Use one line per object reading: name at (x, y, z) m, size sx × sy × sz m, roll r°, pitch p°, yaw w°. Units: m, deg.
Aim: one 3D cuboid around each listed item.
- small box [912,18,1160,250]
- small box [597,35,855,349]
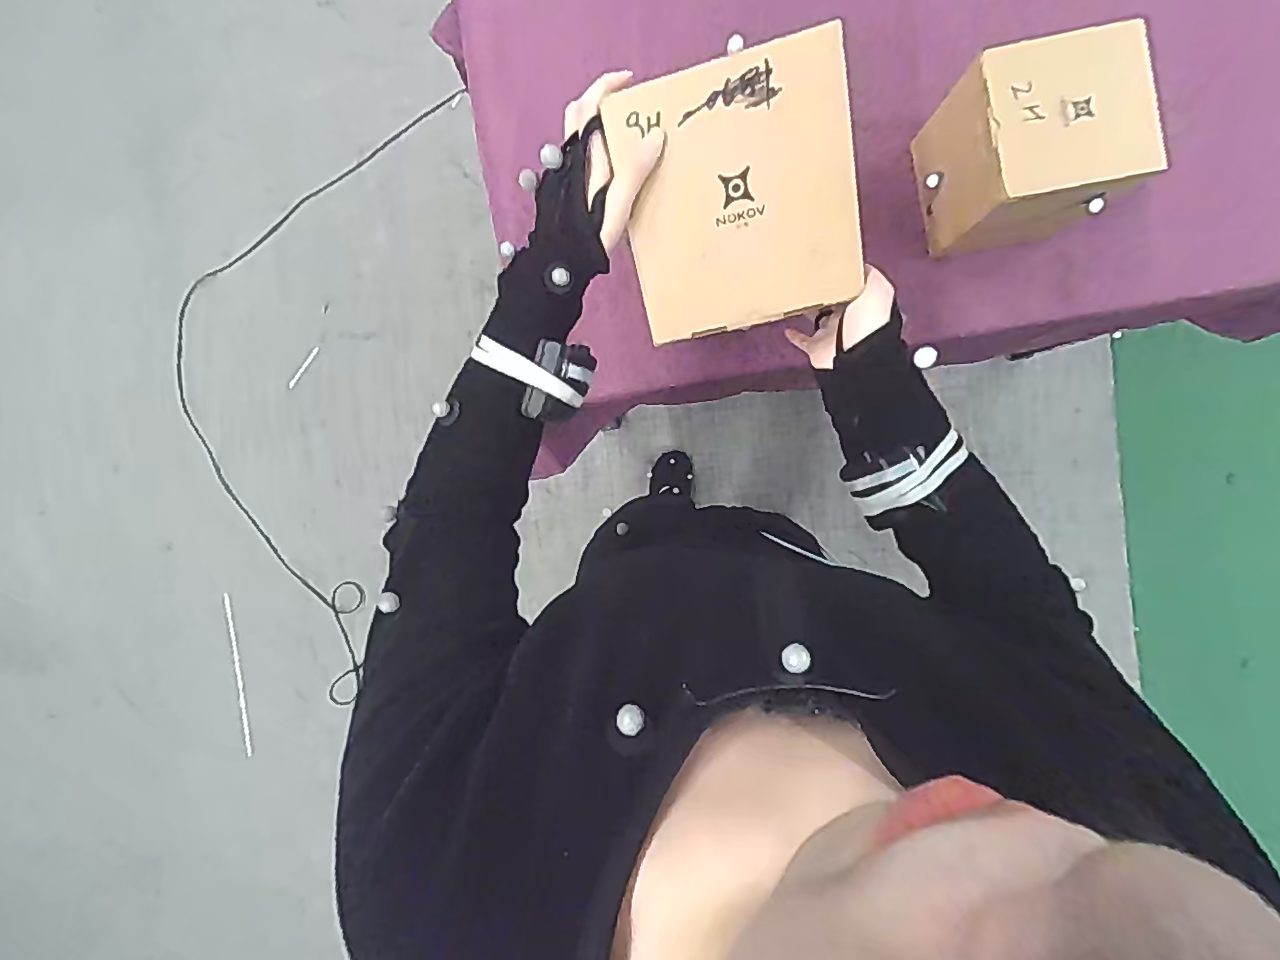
small box at (0.470, -0.408, 0.668) m, size 0.179 × 0.176 × 0.168 m, roll -9°, pitch 90°, yaw 3°
small box at (0.077, -0.233, 0.470) m, size 0.168 × 0.176 × 0.179 m, roll -11°, pitch 114°, yaw 11°
